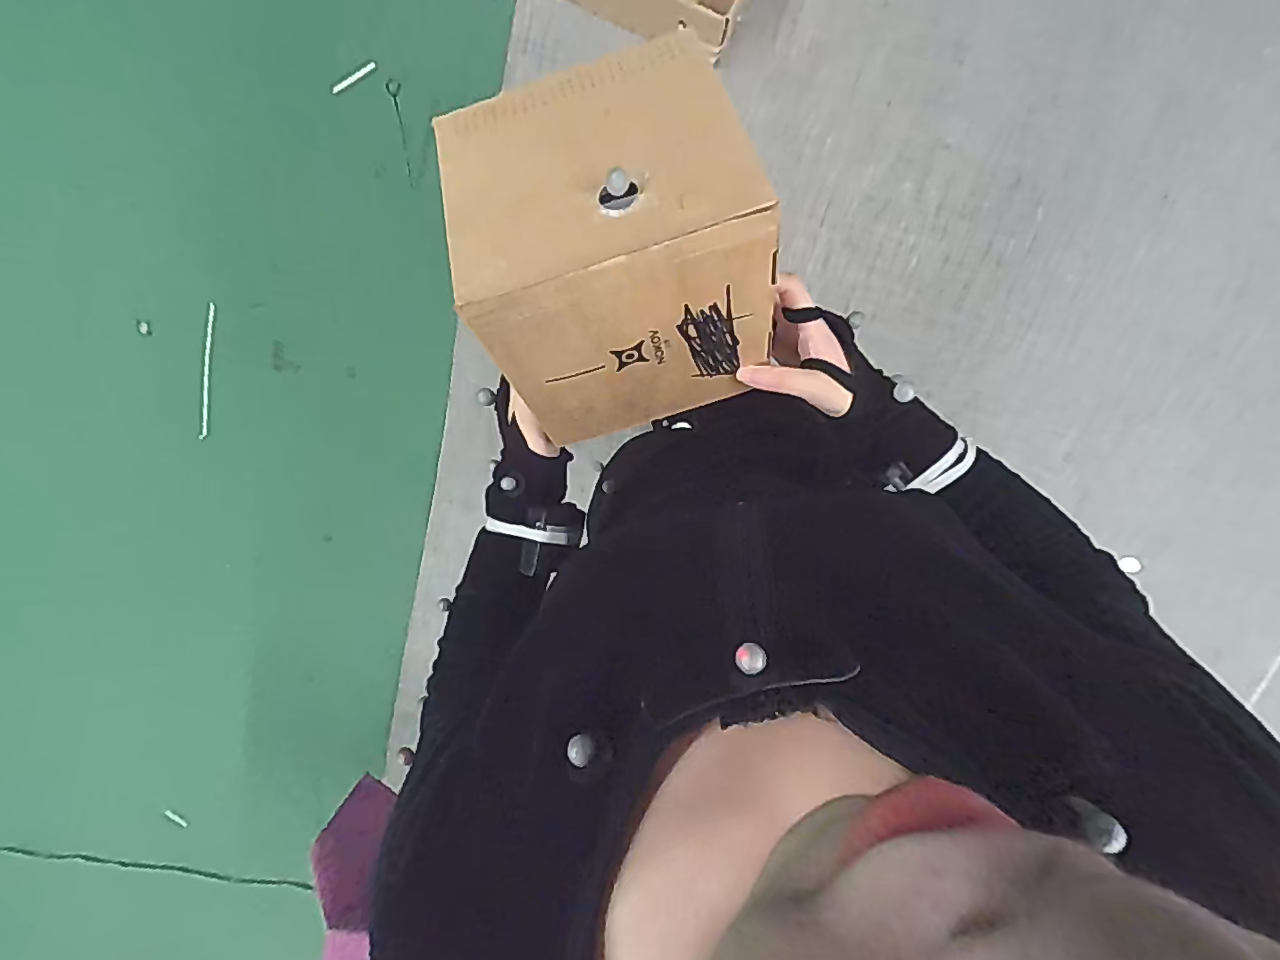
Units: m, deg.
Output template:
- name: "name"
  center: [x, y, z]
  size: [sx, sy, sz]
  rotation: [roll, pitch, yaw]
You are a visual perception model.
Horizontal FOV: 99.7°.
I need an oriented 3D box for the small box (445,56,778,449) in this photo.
- name: "small box"
  center: [-0.018, -0.150, 0.383]
  size: [0.179, 0.168, 0.176]
  rotation: [-16, 64, 4]
